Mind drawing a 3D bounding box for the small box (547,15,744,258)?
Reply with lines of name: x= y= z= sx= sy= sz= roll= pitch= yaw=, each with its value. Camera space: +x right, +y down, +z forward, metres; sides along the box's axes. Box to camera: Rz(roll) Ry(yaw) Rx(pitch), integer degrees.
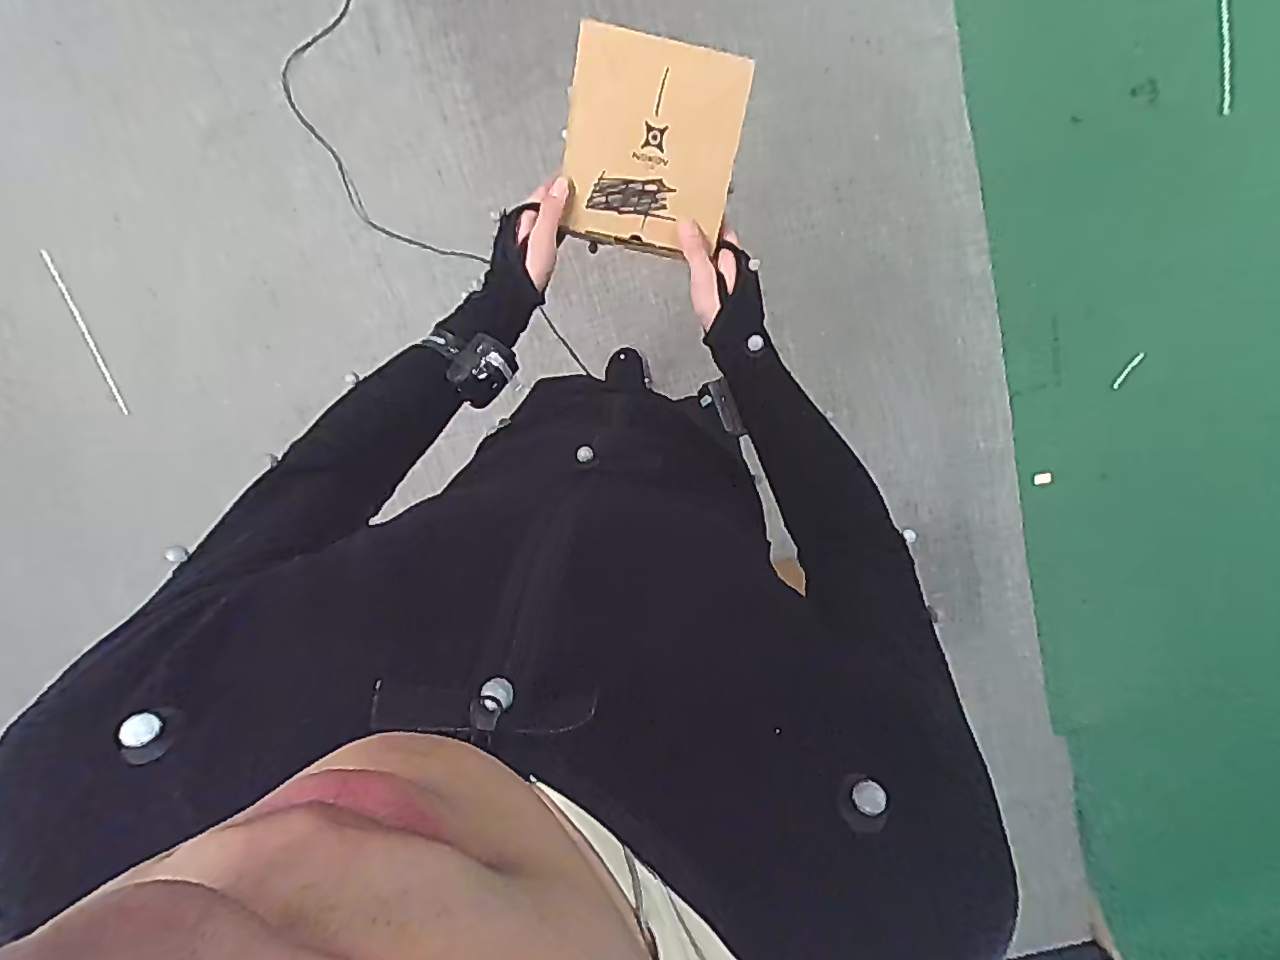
small box: x=0.001 y=-0.351 z=0.593 sx=0.168 sy=0.176 sz=0.179 roll=9 pitch=109 yaw=-5
